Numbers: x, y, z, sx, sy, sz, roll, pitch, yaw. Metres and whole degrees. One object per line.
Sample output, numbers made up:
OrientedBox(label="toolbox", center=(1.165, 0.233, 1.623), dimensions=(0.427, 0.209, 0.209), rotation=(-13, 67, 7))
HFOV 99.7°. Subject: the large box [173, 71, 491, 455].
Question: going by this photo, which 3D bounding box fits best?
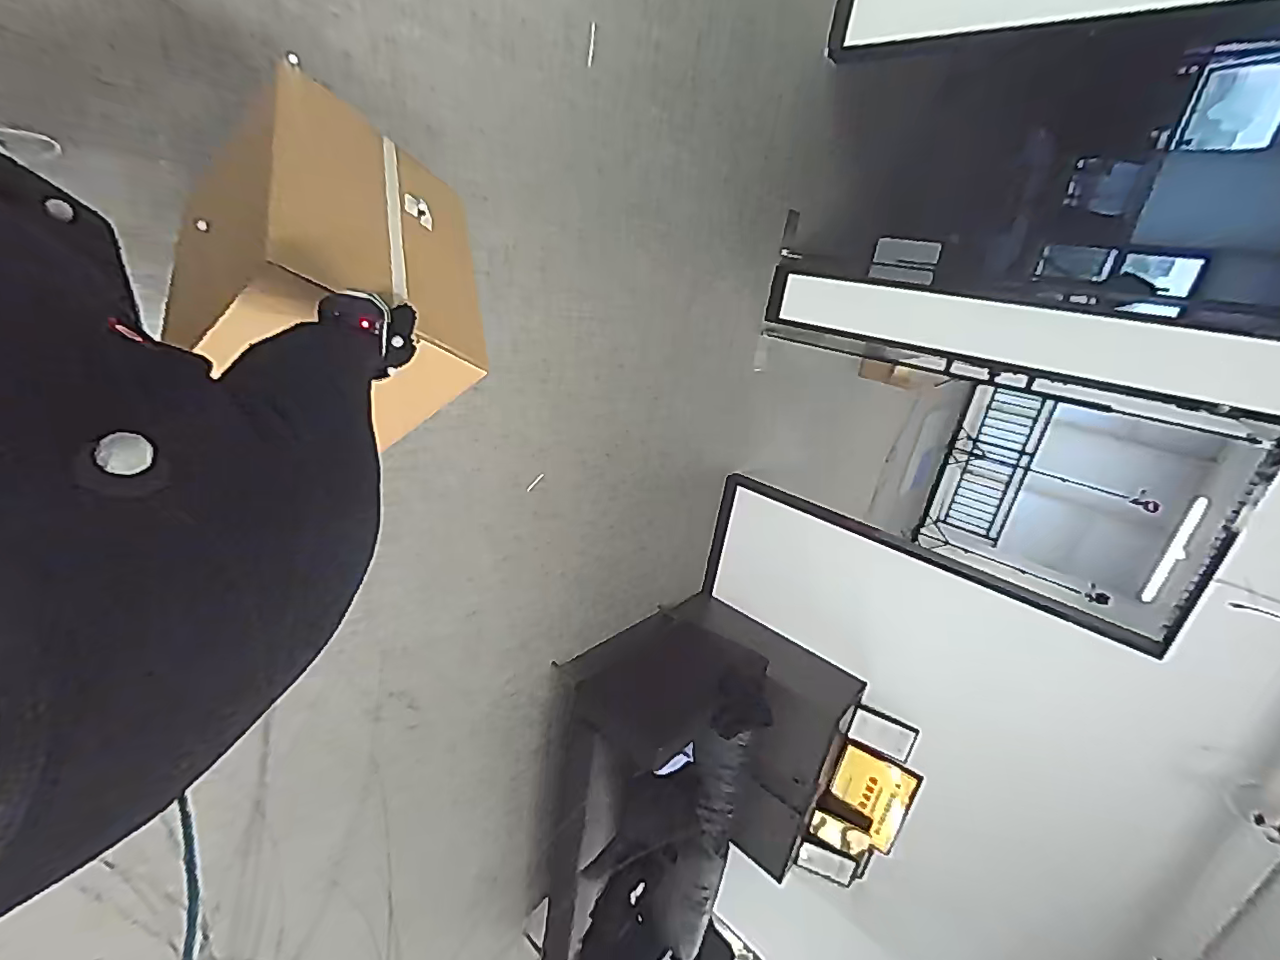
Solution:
OrientedBox(label="large box", center=(-0.483, -0.305, 0.862), dimensions=(0.320, 0.408, 0.320), rotation=(-29, 152, 25))
